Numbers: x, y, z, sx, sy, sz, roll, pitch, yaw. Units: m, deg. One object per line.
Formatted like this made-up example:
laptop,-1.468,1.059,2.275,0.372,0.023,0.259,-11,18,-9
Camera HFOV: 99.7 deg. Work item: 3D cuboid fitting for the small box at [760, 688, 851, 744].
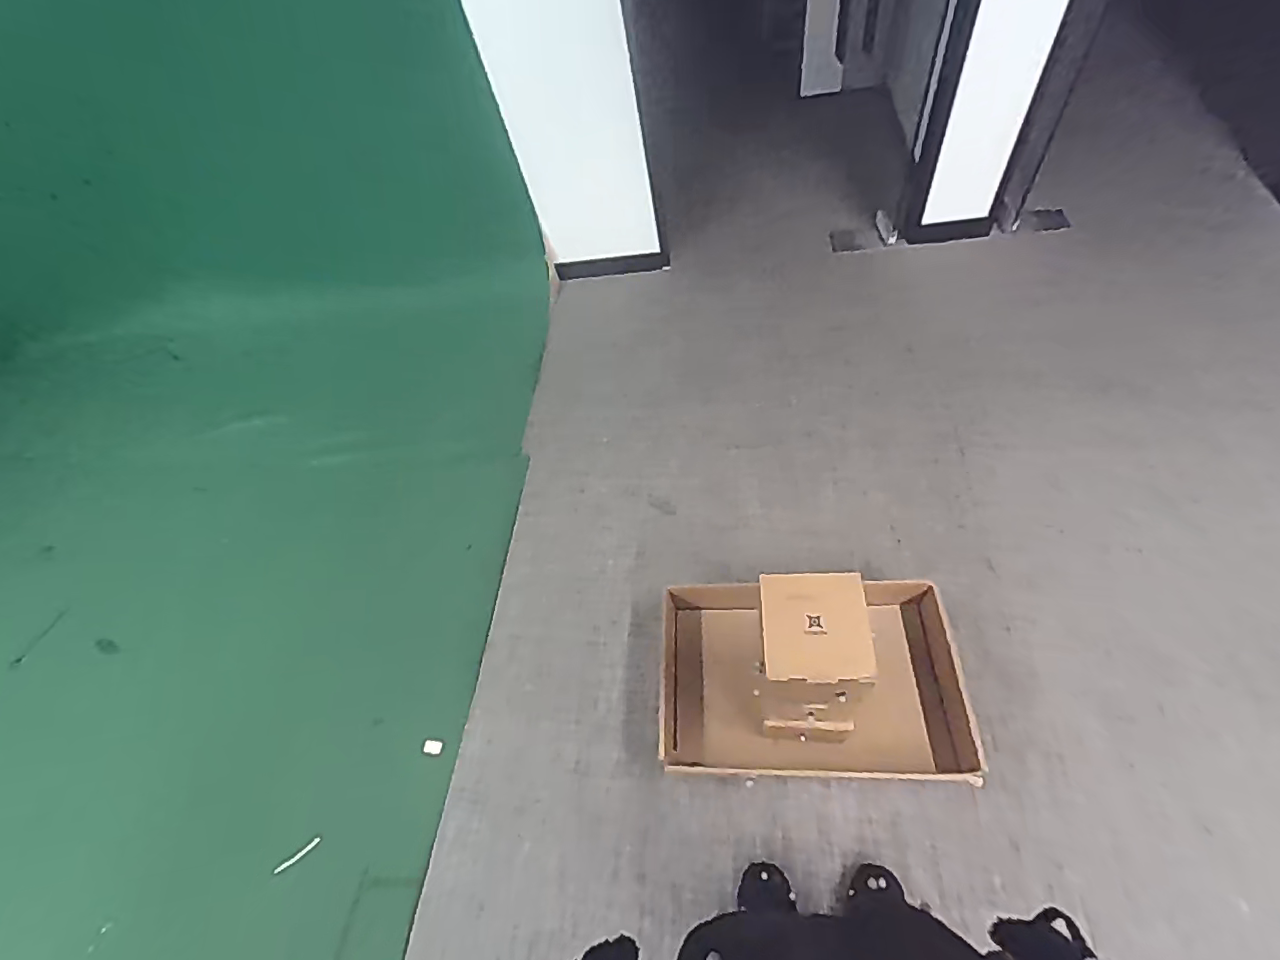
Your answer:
small box,0.358,0.478,1.198,0.179,0.176,0.168,-1,55,13

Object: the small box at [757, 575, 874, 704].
small box,0.290,0.278,0.929,0.168,0.176,0.179,-2,55,10

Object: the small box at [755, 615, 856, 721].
small box,0.323,0.377,1.078,0.168,0.176,0.179,-6,55,10
